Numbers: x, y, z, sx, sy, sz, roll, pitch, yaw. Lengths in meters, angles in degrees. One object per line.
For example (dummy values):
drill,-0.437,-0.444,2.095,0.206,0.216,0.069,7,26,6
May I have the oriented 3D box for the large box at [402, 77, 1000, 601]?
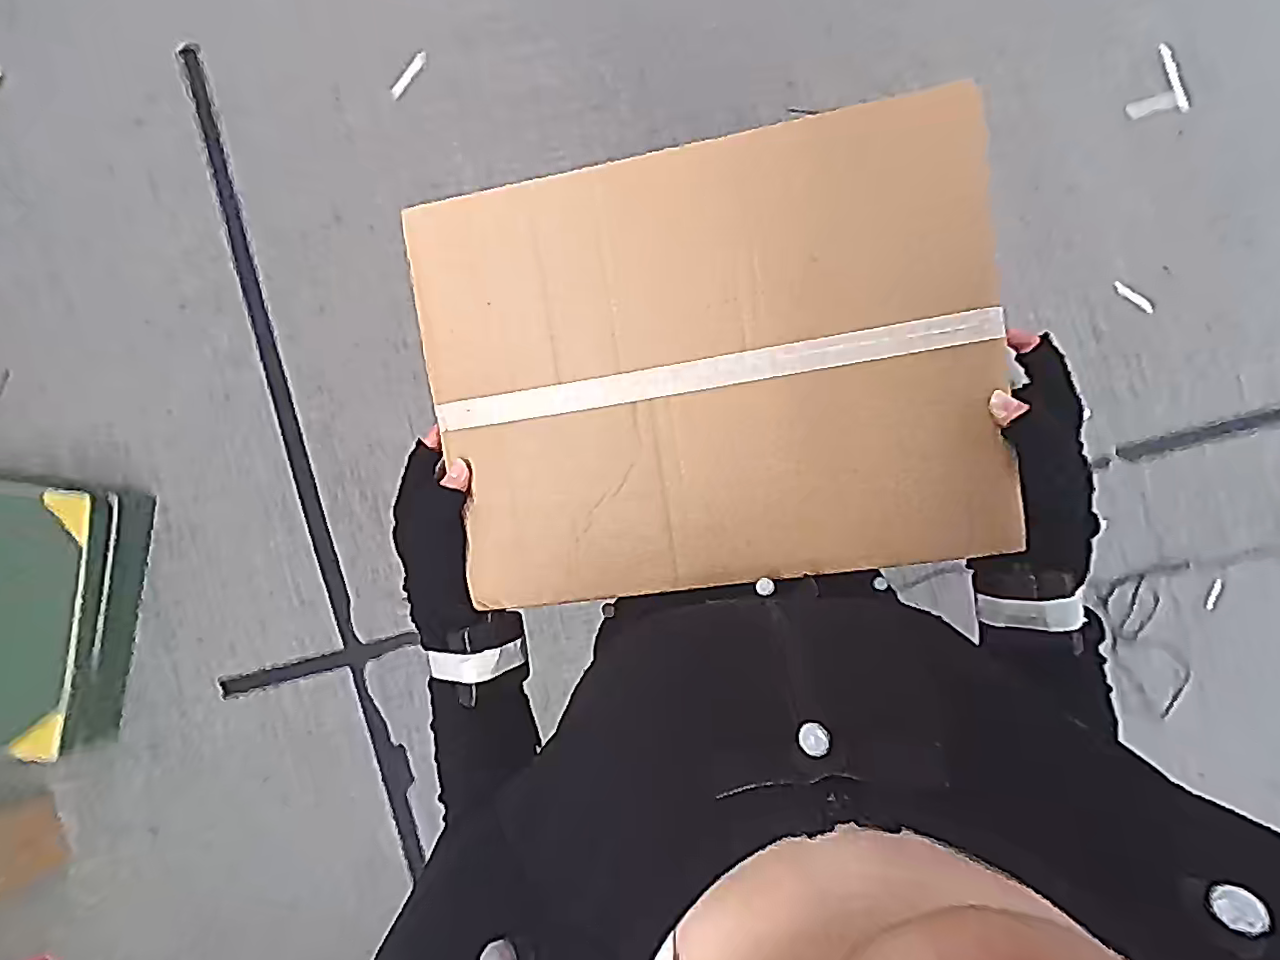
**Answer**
large box,0.056,-0.102,0.544,0.408,0.320,0.320,-10,94,8
